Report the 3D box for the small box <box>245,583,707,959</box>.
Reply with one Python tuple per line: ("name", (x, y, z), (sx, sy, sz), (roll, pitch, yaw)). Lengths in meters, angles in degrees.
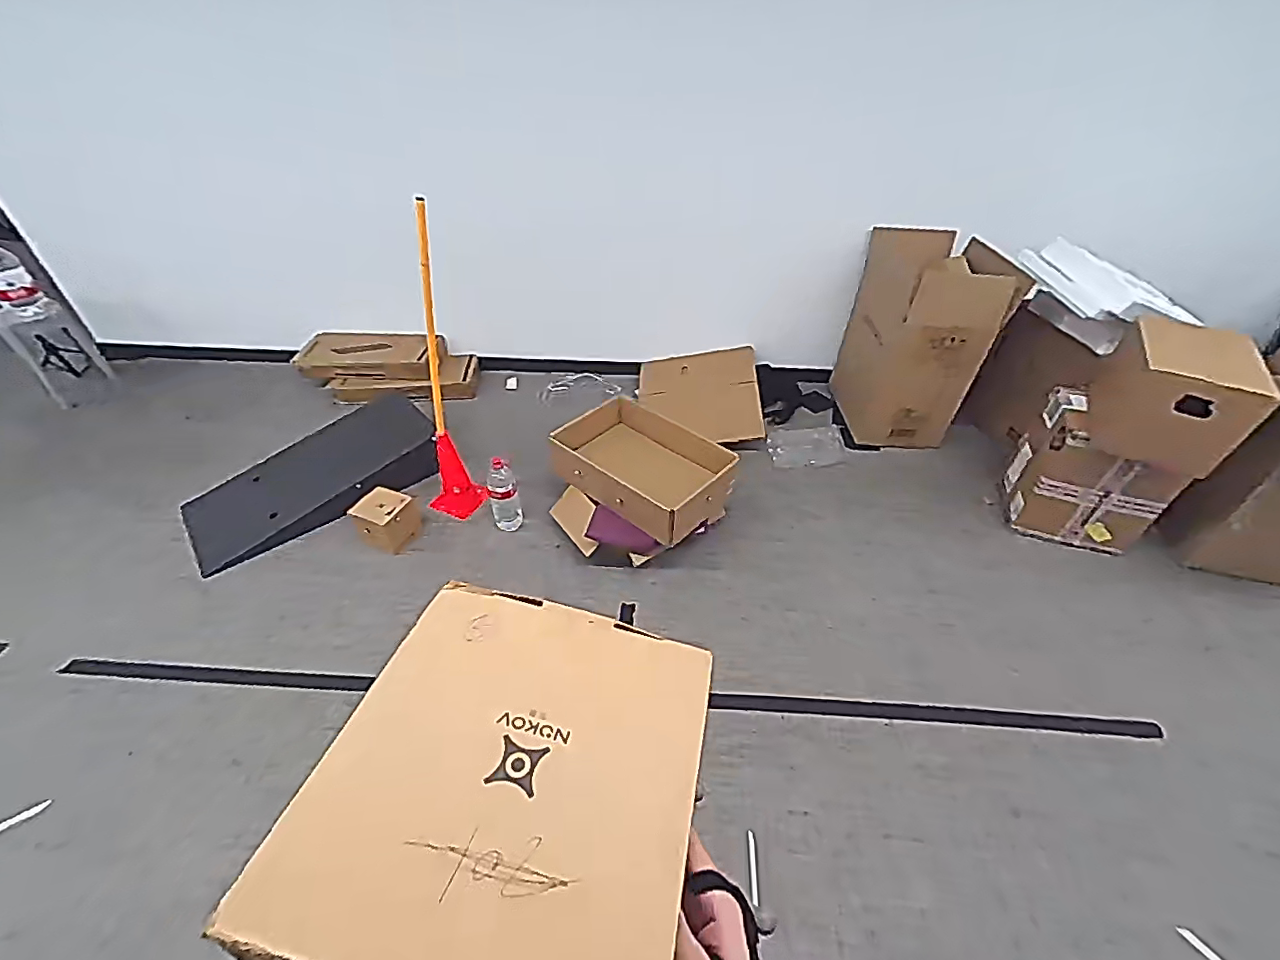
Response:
("small box", (-0.069, 0.196, 0.313), (0.168, 0.176, 0.179), (15, 38, 6))
